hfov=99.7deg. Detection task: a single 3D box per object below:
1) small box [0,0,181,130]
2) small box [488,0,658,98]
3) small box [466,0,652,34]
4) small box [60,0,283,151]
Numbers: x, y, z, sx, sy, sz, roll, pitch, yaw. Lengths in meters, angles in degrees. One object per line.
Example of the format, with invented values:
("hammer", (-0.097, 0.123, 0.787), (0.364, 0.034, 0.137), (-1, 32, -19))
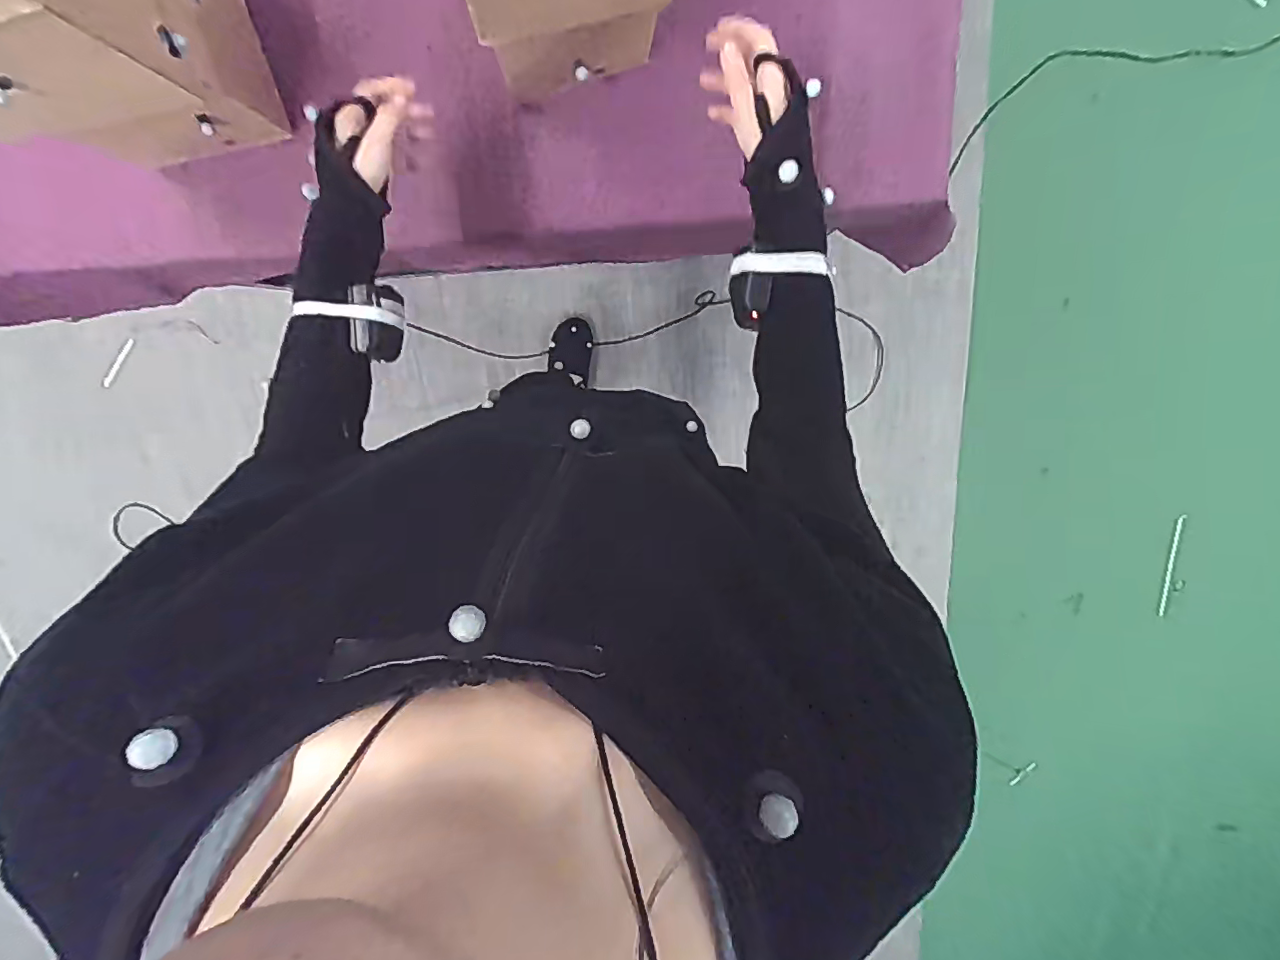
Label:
("small box", (-0.468, -0.366, 0.365), (0.179, 0.176, 0.168), (-13, 107, -2))
("small box", (-0.088, -0.521, 0.527), (0.168, 0.176, 0.179), (-18, 108, 0))
("small box", (-0.067, -0.456, 0.376), (0.179, 0.176, 0.168), (-14, 108, -2))
("small box", (-0.485, -0.437, 0.513), (0.168, 0.176, 0.179), (-12, 106, -3))
